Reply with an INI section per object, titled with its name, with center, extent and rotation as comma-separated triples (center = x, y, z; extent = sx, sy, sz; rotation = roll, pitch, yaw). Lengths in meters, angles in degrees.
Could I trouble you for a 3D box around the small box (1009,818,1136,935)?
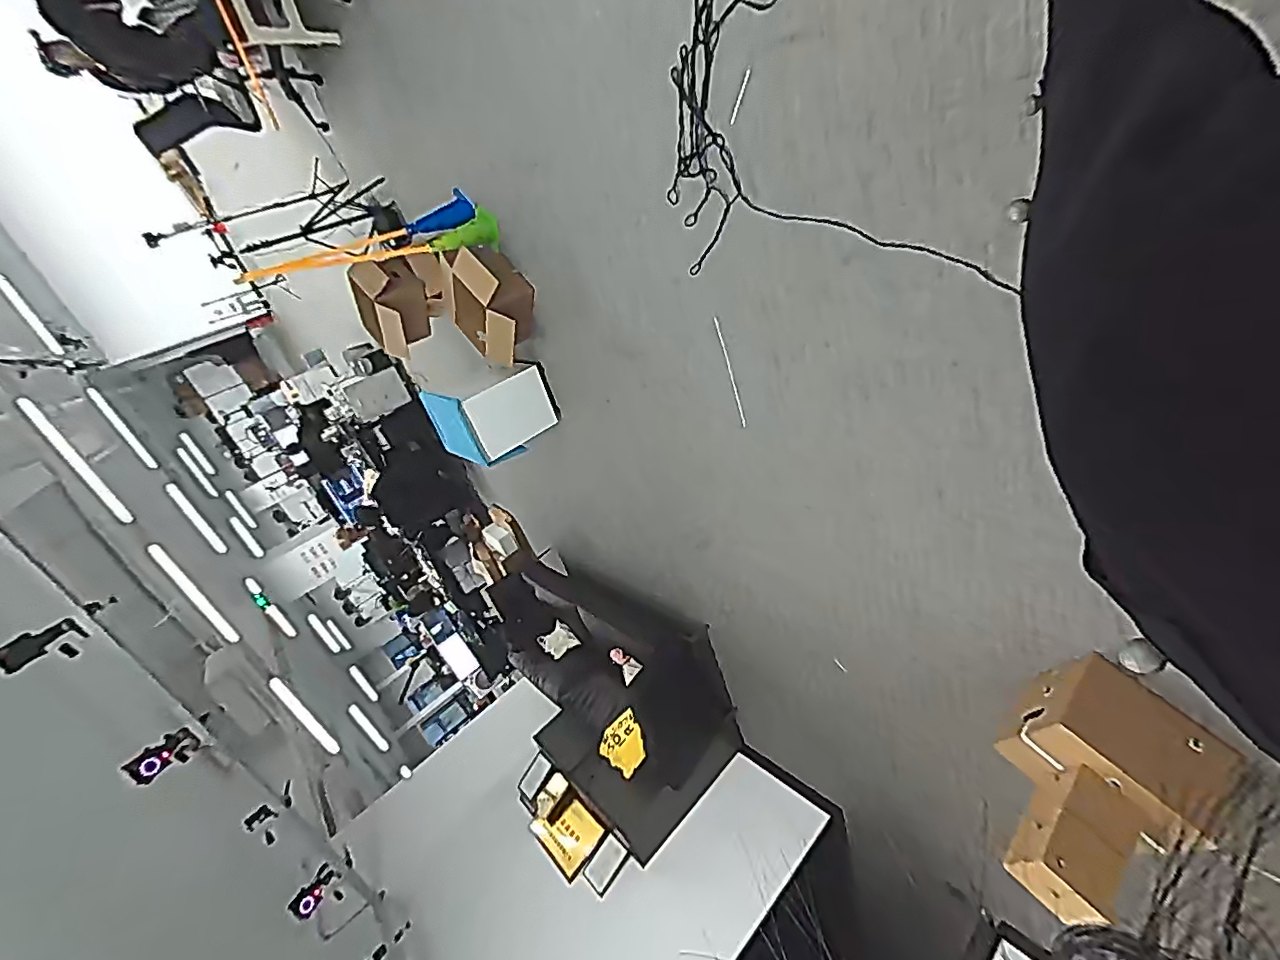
[small box]
center = 1.117, 1.019, 1.397
extent = 0.179, 0.176, 0.168
rotation = 42, 149, 26
